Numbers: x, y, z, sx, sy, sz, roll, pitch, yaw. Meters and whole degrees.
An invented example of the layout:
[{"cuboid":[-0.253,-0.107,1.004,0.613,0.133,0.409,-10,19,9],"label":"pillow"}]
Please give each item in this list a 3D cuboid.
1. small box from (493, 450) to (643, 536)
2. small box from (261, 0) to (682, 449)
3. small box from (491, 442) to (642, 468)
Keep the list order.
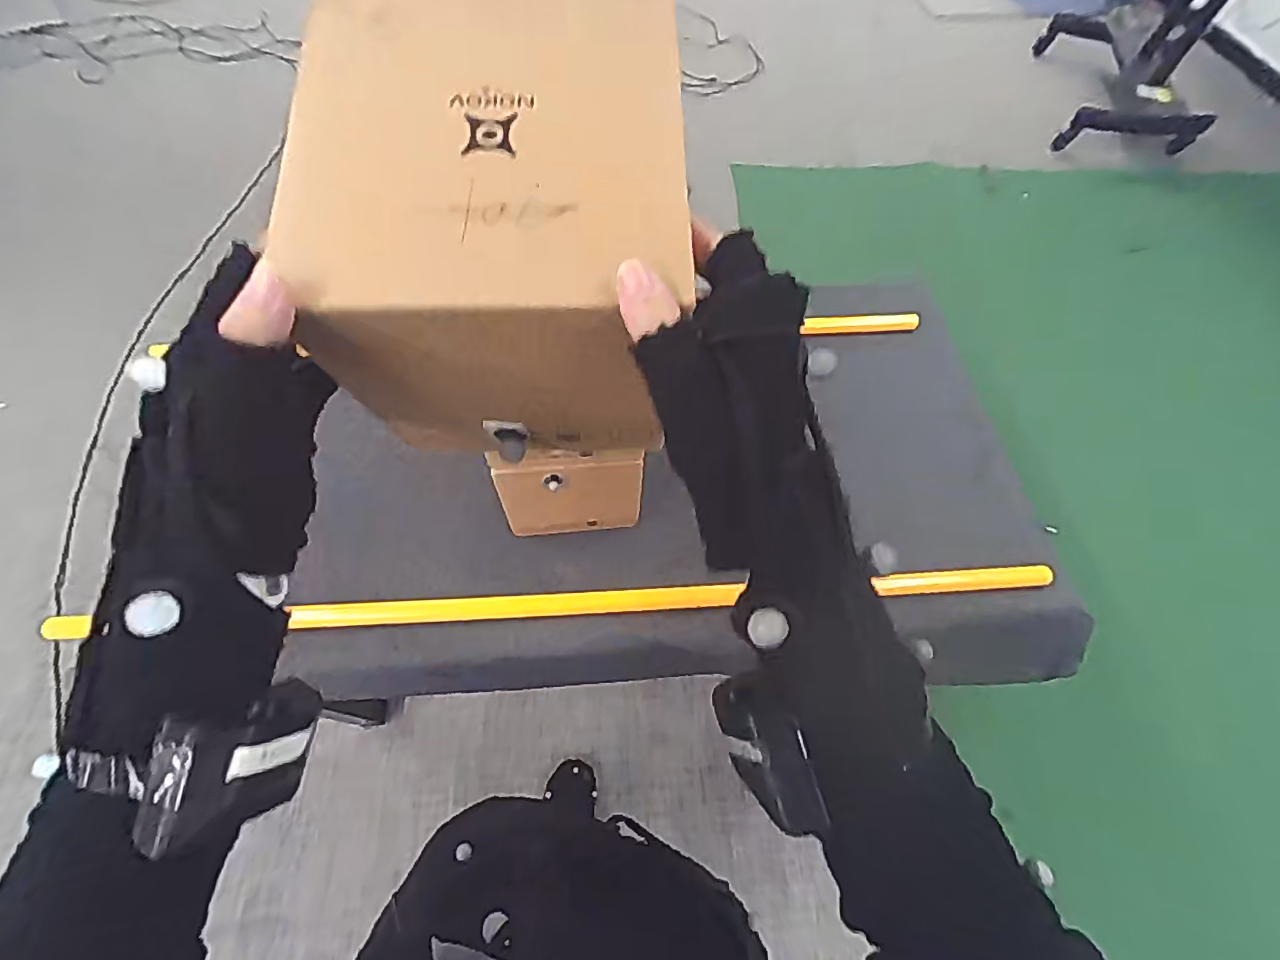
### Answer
[{"cuboid":[-0.090,-0.045,0.698,0.168,0.176,0.179,-5,60,-5],"label":"small box"},{"cuboid":[-0.069,-0.129,0.311,0.168,0.176,0.179,-1,74,-2],"label":"small box"},{"cuboid":[-0.083,-0.130,0.557,0.168,0.176,0.179,-3,61,-5],"label":"small box"}]
